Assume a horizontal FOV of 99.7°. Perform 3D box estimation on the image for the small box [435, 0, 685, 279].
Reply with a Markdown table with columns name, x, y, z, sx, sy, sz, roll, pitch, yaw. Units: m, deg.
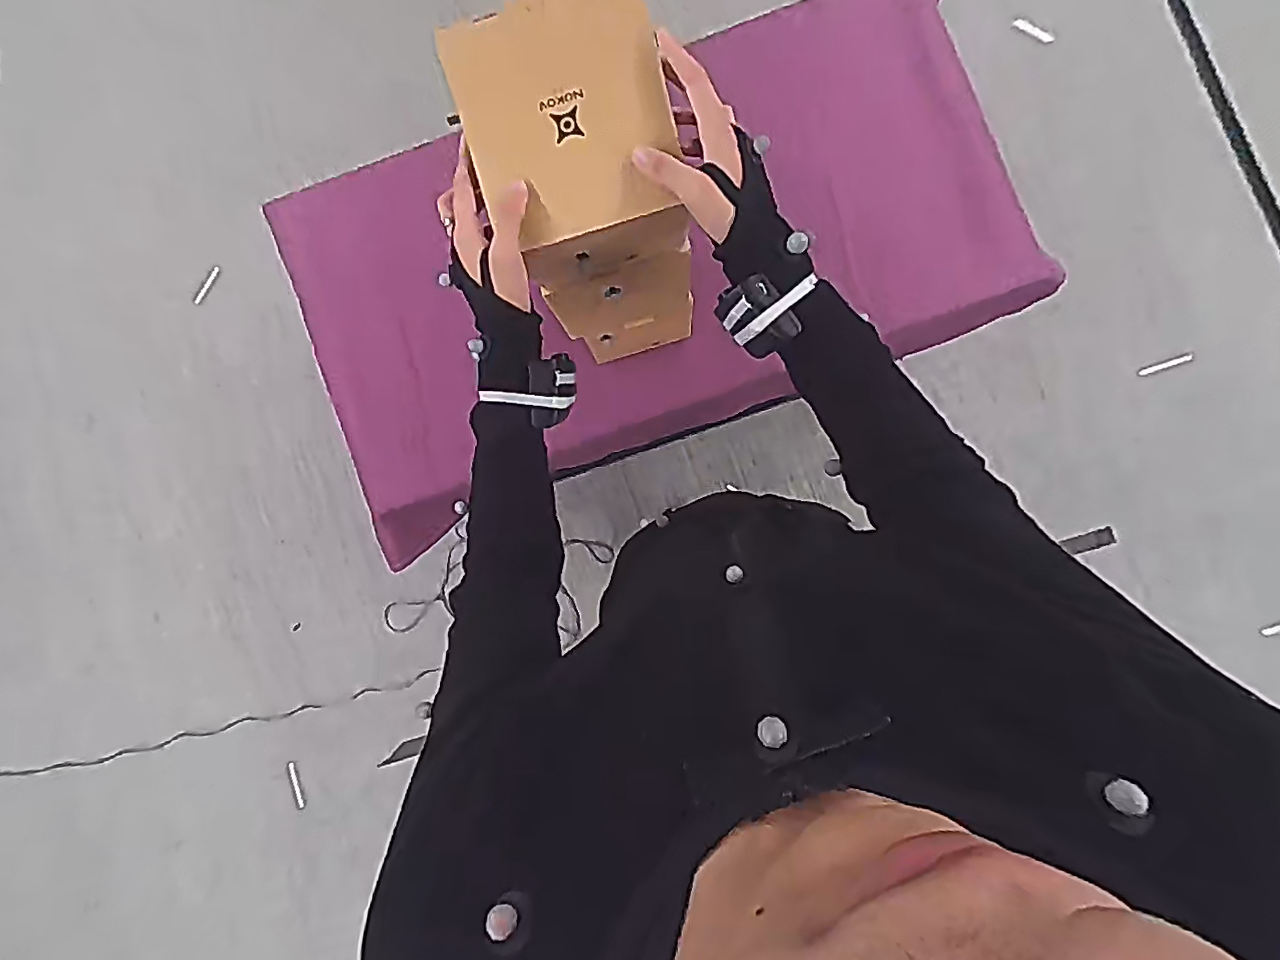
| name | x | y | z | sx | sy | sz | roll | pitch | yaw |
| --- | --- | --- | --- | --- | --- | --- | --- | --- | --- |
| small box | -0.057 | -0.302 | 0.505 | 0.168 | 0.176 | 0.179 | -15 | 98 | 5 |

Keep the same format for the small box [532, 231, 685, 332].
| name | x | y | z | sx | sy | sz | roll | pitch | yaw |
| --- | --- | --- | --- | --- | --- | --- | --- | --- | --- |
| small box | -0.046 | -0.305 | 0.684 | 0.179 | 0.176 | 0.168 | -16 | 87 | 3 |
